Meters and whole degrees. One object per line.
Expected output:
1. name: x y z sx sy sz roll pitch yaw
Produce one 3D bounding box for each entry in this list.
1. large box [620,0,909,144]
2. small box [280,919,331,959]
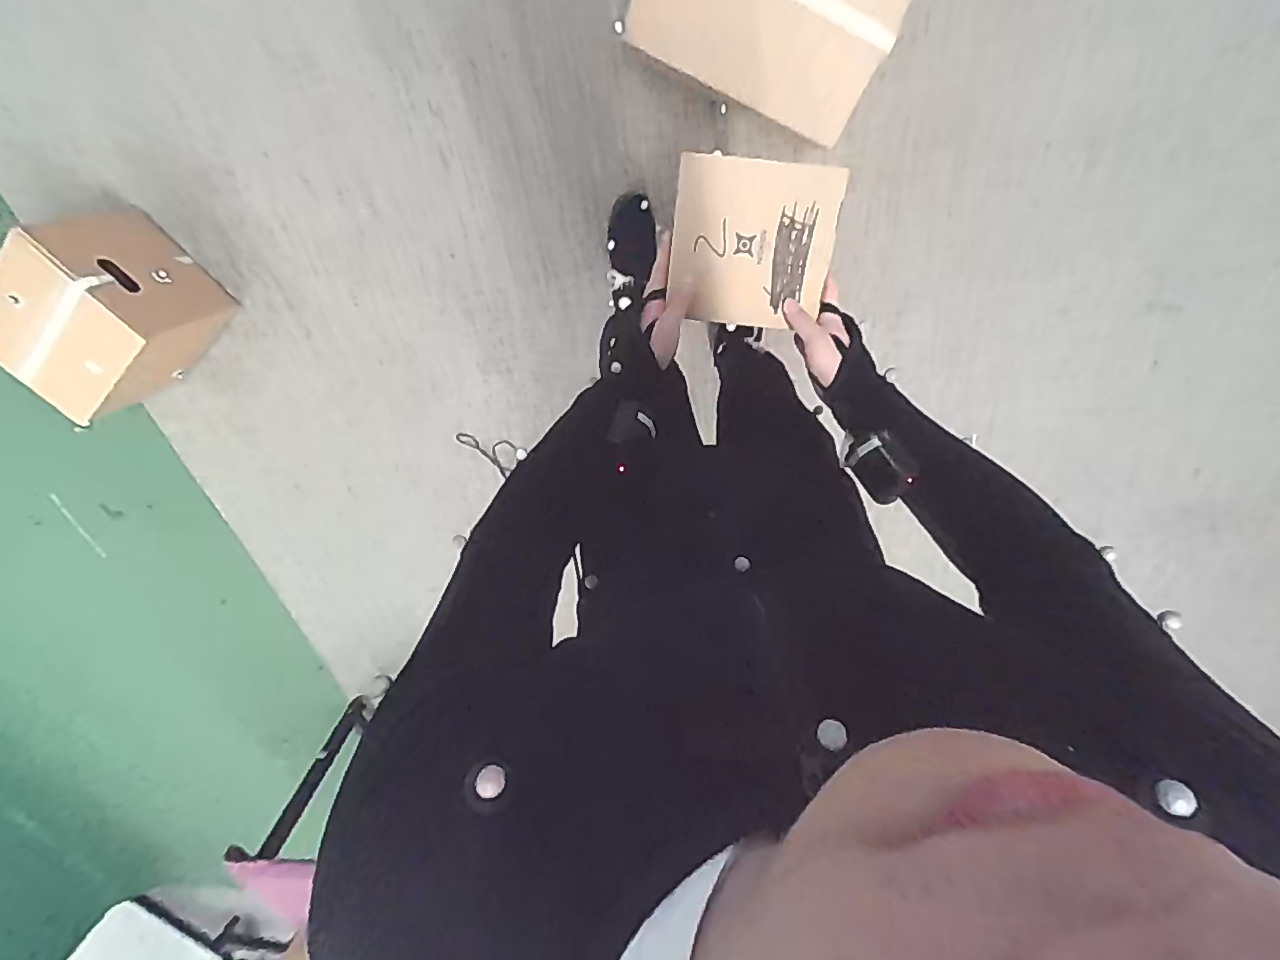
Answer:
1. large box: 0.223 -0.838 0.943 0.408 0.320 0.320 23 122 -7
2. small box: -1.220 1.796 2.044 0.179 0.176 0.168 -3 121 8
